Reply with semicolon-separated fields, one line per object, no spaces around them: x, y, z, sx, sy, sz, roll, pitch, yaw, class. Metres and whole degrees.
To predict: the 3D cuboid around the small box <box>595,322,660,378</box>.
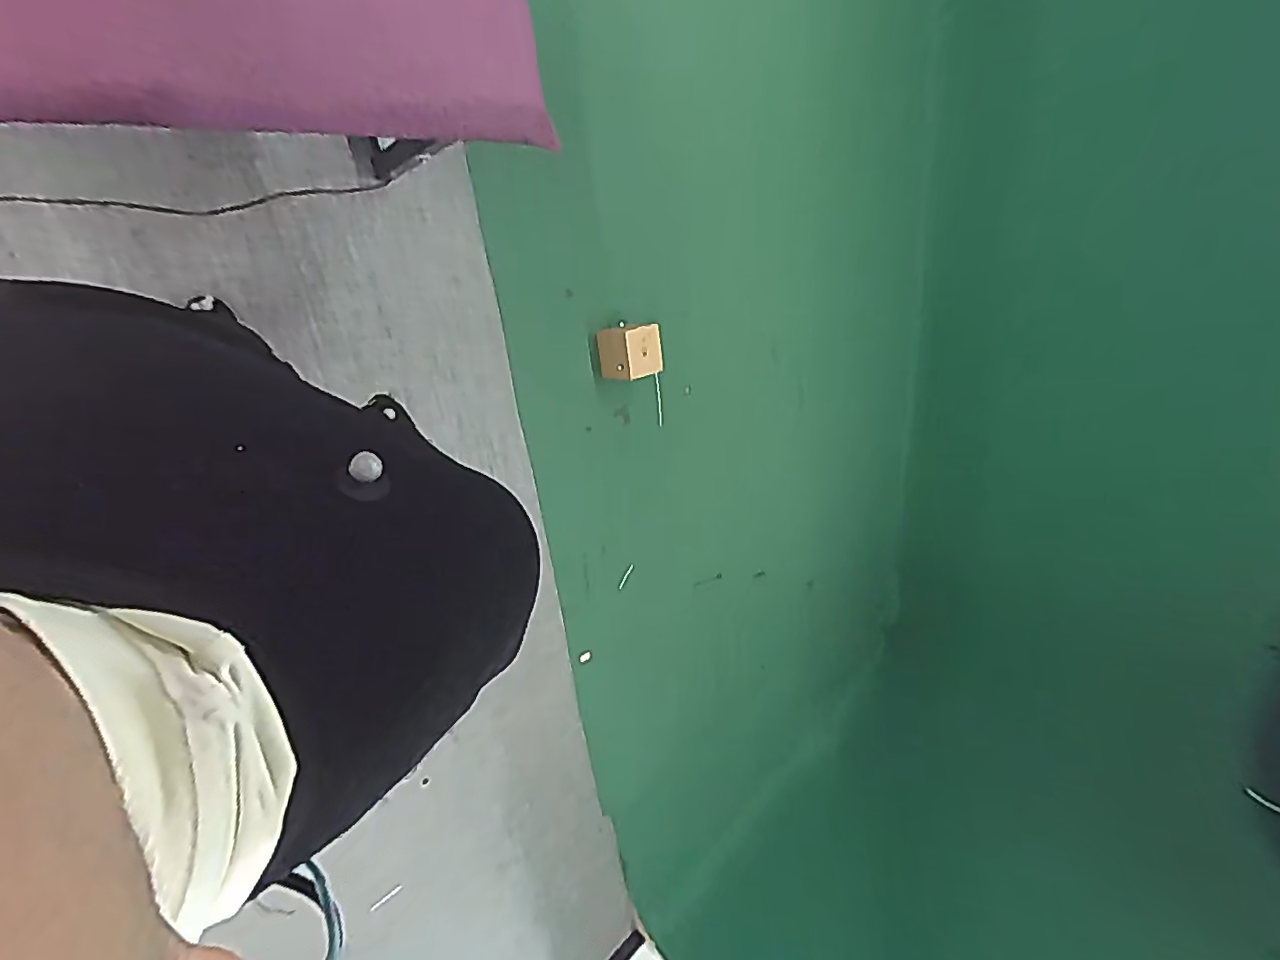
-0.048;-0.487;2.010;0.168;0.176;0.179;-24;117;-37;small box
